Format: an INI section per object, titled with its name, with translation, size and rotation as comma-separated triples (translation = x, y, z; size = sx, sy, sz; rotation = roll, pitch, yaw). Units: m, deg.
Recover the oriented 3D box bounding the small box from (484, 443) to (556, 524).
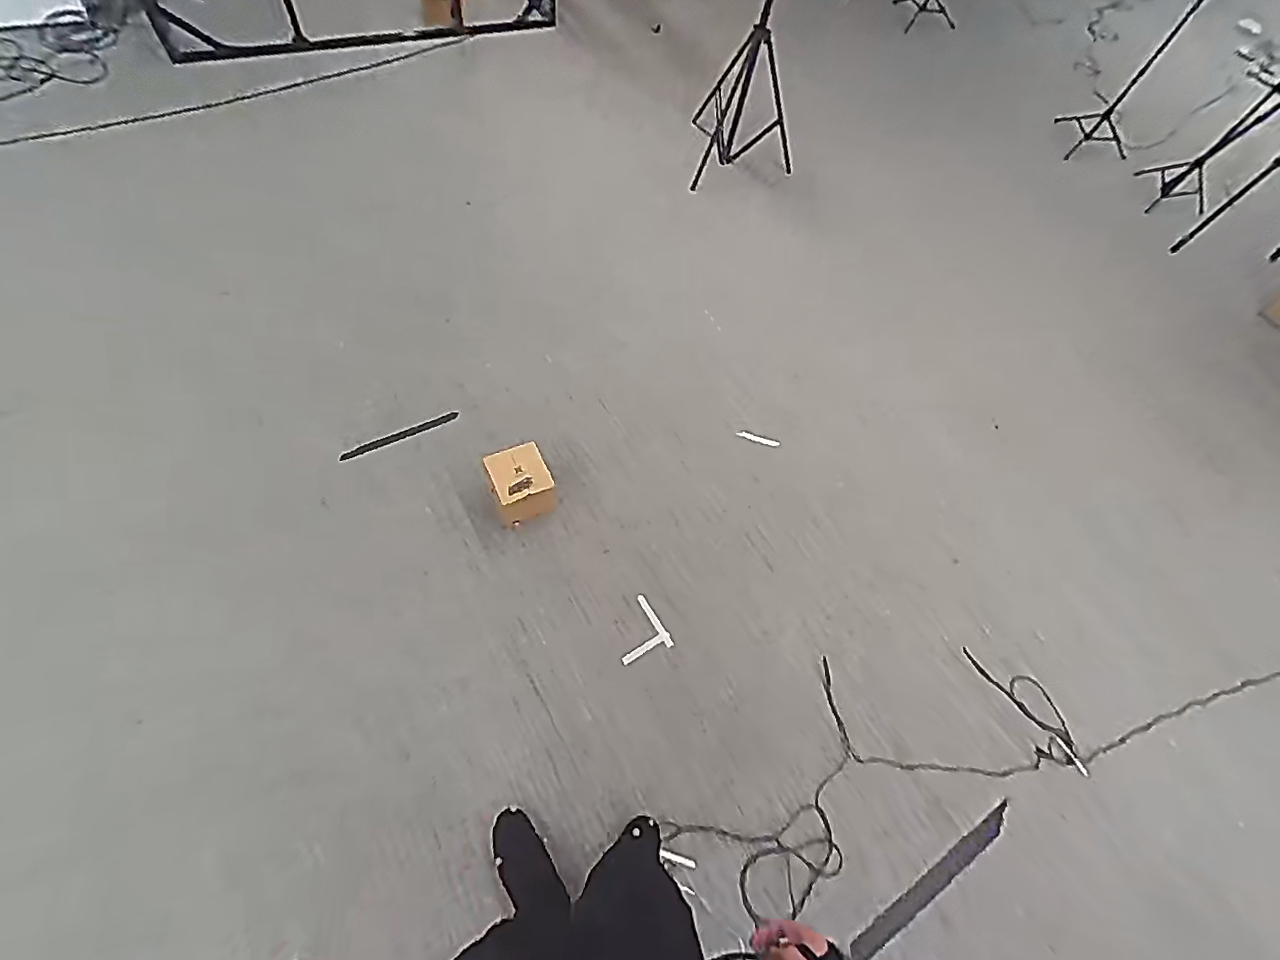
[small box]
translation = -0.366, 0.019, 1.669
size = 0.168, 0.176, 0.179
rotation = -21, 66, -20
